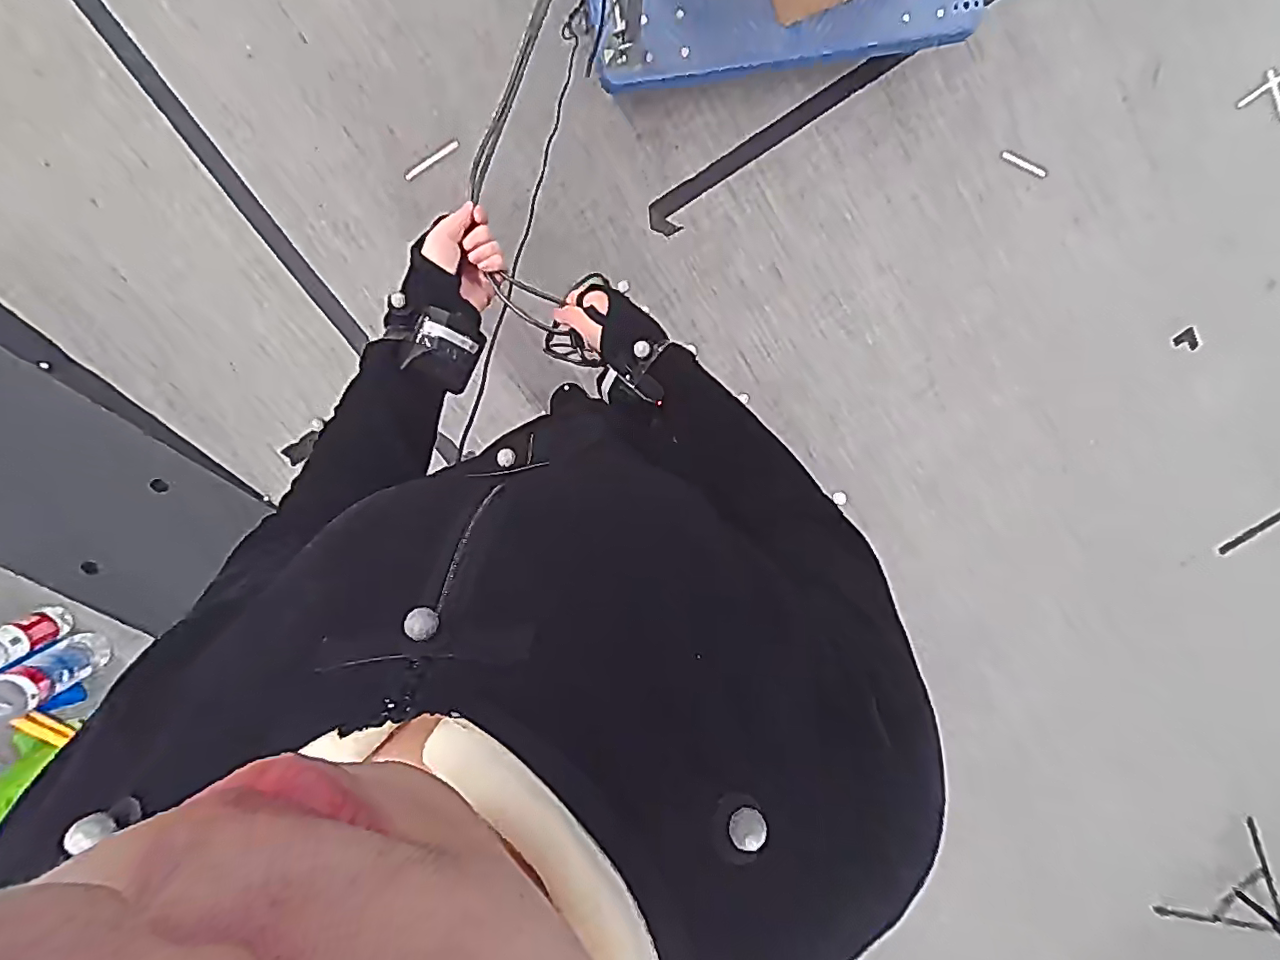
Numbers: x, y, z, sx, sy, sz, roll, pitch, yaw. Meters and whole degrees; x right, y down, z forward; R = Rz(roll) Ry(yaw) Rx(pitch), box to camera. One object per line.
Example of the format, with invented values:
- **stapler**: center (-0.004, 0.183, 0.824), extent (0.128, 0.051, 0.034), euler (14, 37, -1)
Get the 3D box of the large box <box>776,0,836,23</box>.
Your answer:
- **large box**: center (0.379, -1.186, 0.976), extent (0.320, 0.320, 0.408), euler (-25, 104, 0)
